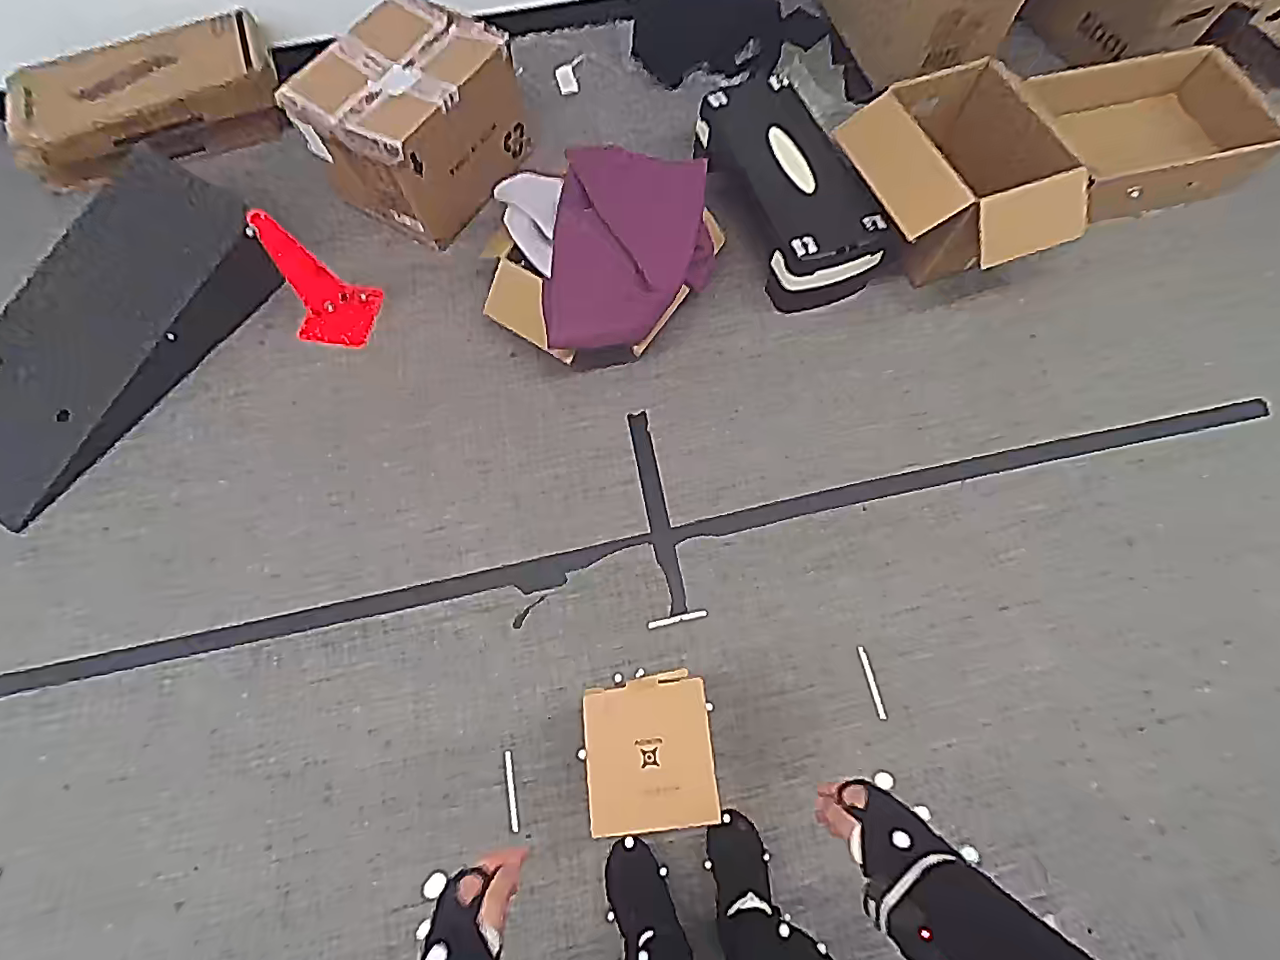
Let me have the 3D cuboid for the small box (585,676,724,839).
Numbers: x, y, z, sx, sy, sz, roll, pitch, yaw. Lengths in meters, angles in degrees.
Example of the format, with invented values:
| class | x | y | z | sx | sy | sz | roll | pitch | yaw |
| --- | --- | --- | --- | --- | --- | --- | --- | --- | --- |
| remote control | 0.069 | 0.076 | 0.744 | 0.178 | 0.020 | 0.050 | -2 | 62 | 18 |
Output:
| class | x | y | z | sx | sy | sz | roll | pitch | yaw |
| --- | --- | --- | --- | --- | --- | --- | --- | --- | --- |
| small box | 0.016 | 0.378 | 0.766 | 0.168 | 0.176 | 0.179 | -6 | 71 | -1 |
